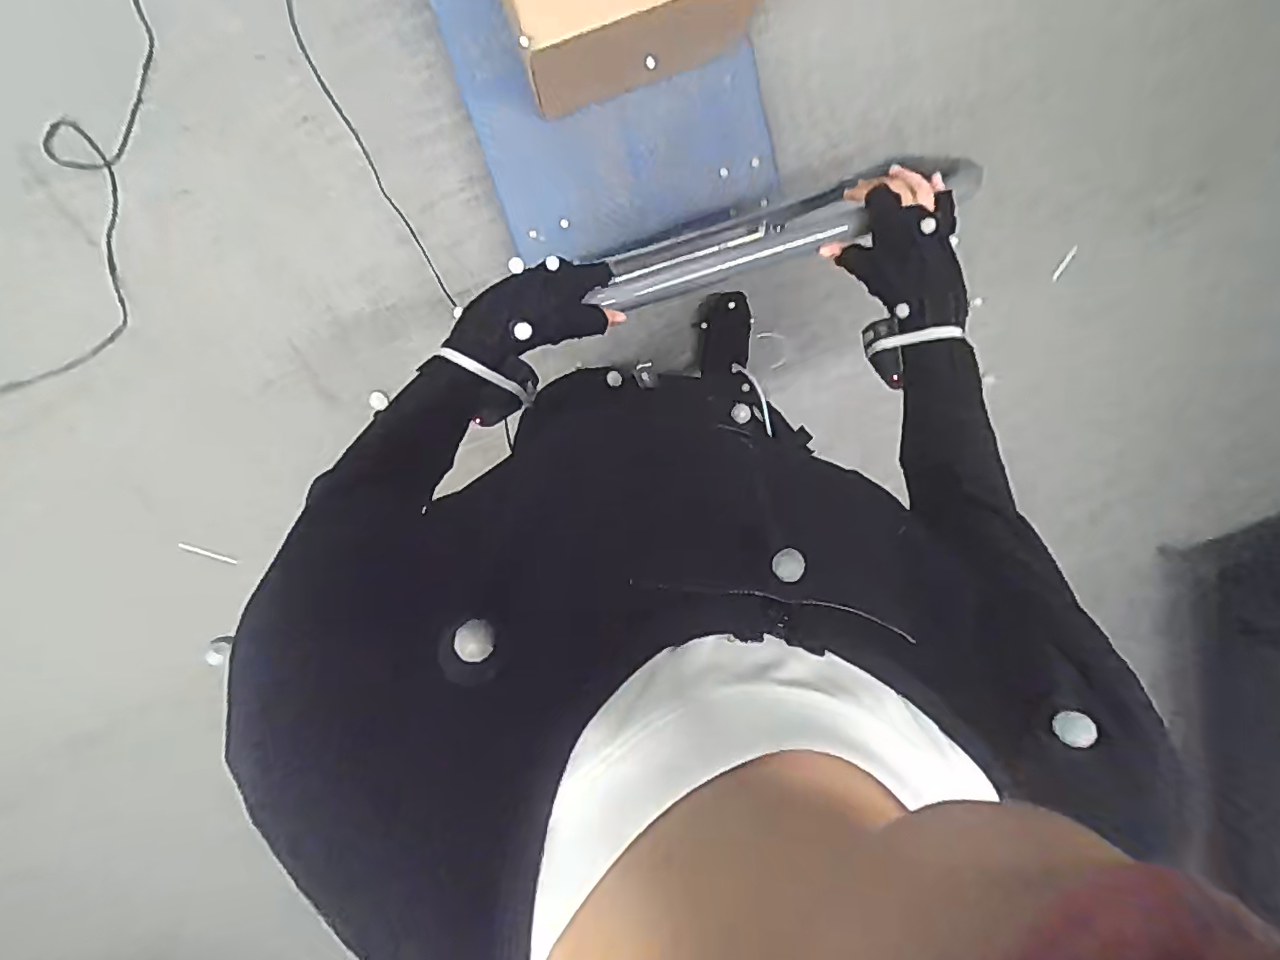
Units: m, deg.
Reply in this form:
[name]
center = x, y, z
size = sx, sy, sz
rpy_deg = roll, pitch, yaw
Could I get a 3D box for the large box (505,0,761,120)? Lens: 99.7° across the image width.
[large box]
center = -0.035, -0.872, 0.891
size = 0.408, 0.320, 0.320
rpy_deg = -19, 107, 2
